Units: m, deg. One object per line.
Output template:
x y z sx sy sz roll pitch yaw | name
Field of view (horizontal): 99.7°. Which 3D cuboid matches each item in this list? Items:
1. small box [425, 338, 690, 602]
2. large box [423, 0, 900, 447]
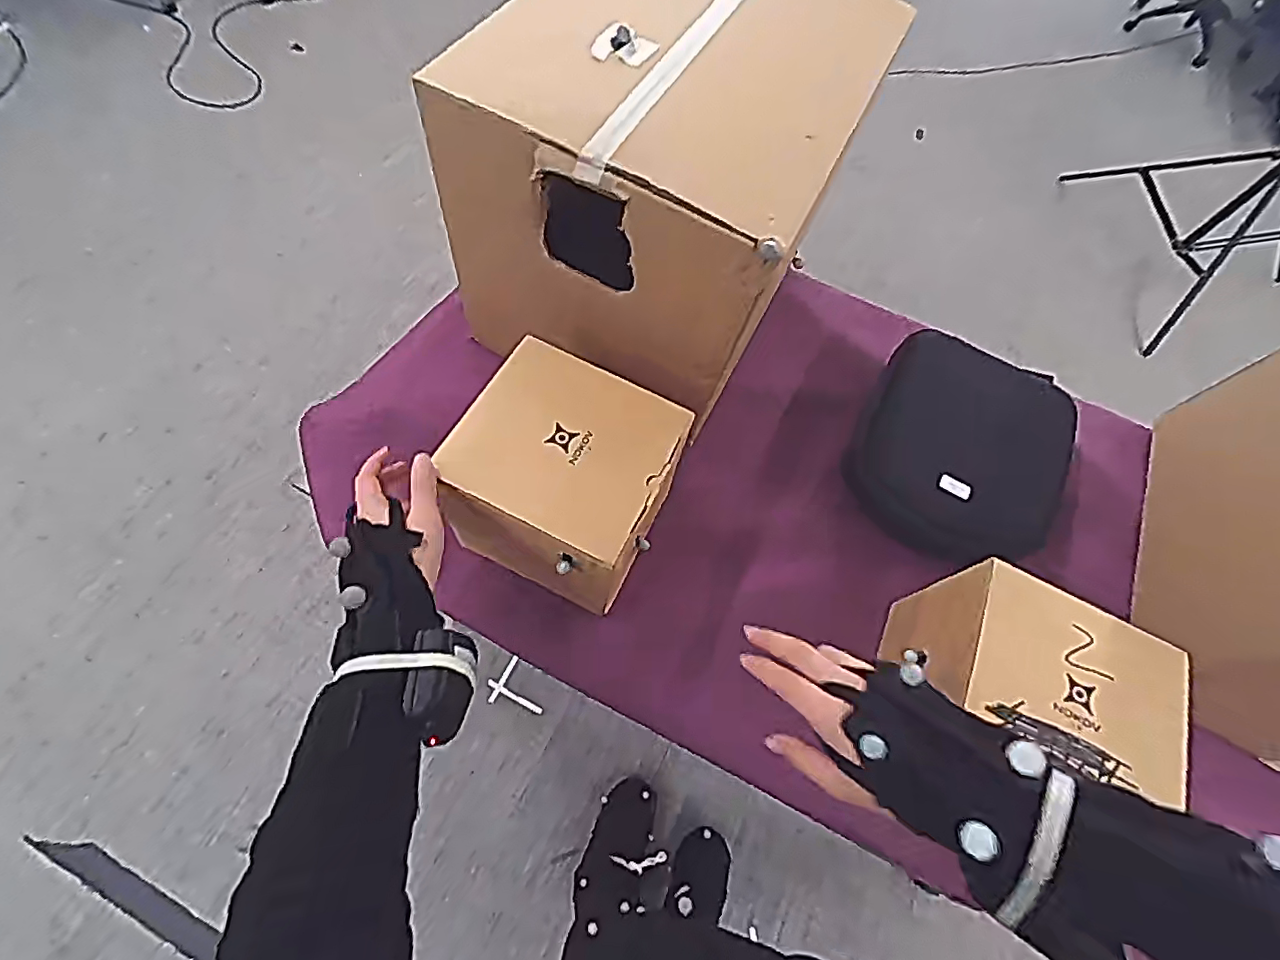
-0.075 0.001 0.533 0.179 0.176 0.168 25 62 4 | small box
0.030 -0.319 0.620 0.320 0.320 0.408 27 67 4 | large box
